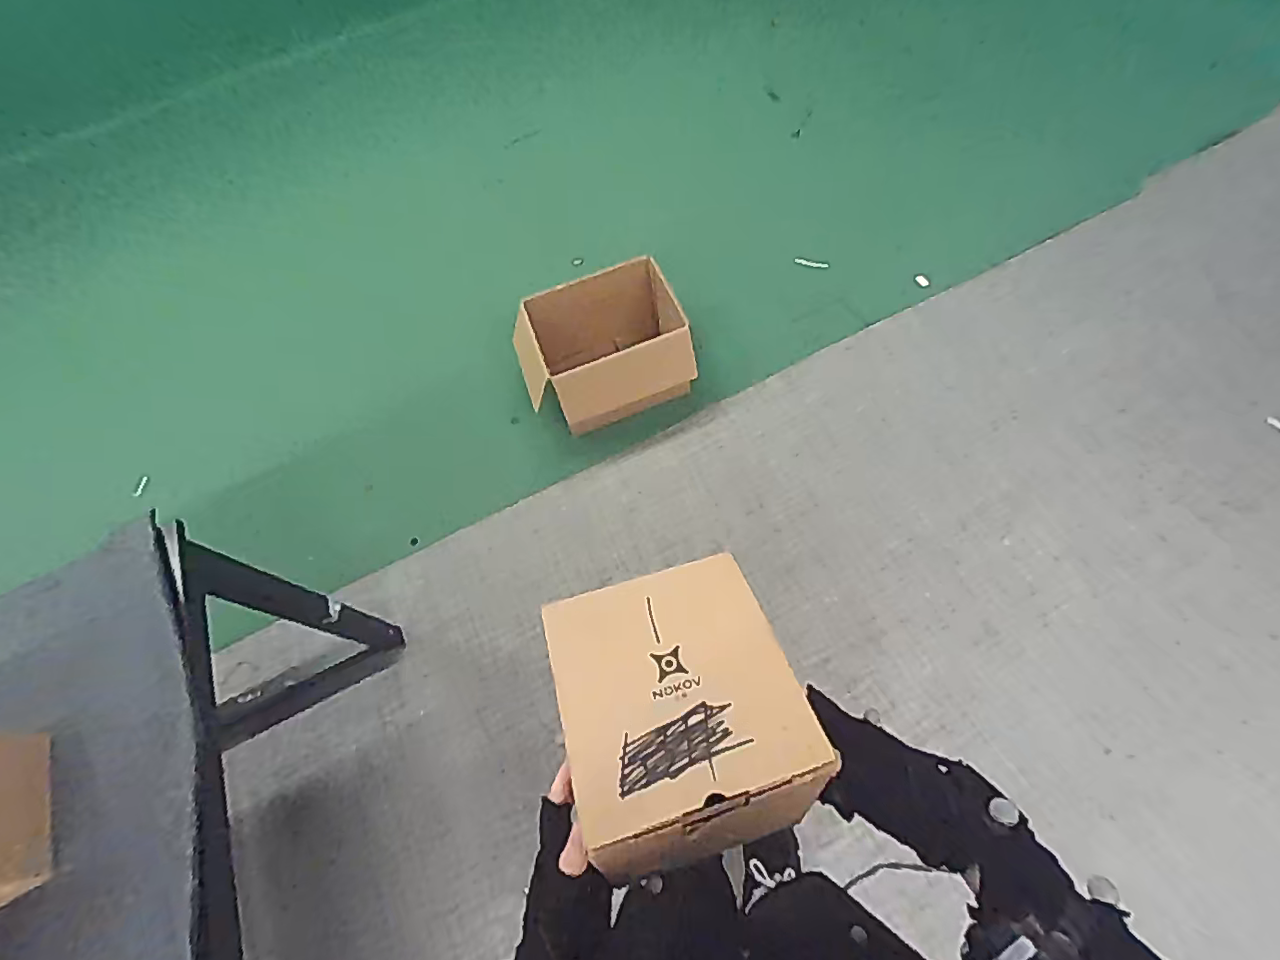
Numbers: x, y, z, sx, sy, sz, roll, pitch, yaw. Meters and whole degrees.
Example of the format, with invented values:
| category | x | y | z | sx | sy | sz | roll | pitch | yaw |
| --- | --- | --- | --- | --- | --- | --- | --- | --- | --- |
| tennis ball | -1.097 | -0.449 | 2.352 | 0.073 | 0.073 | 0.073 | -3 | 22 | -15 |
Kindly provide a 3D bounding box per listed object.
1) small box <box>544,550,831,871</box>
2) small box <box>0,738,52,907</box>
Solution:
| category | x | y | z | sx | sy | sz | roll | pitch | yaw |
| --- | --- | --- | --- | --- | --- | --- | --- | --- | --- |
| small box | 0.030 | 0.192 | 0.443 | 0.168 | 0.176 | 0.179 | -14 | 46 | -8 |
| small box | -0.805 | 0.399 | 0.587 | 0.168 | 0.176 | 0.179 | -29 | 64 | -8 |
